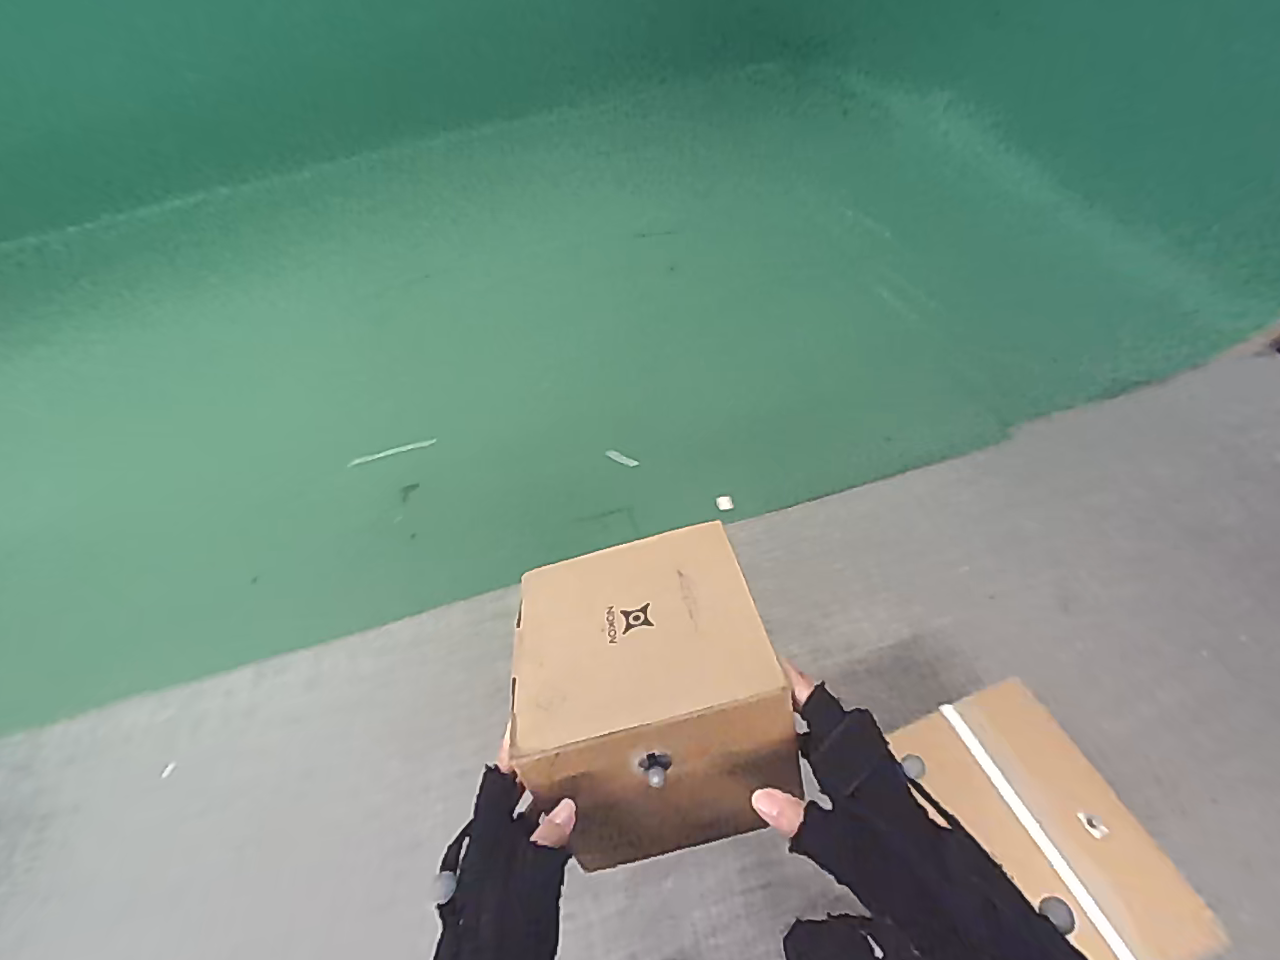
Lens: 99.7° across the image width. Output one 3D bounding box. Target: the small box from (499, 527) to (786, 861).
[{"bbox_3d":[0.004,0.171,0.440,0.179,0.176,0.168,-16,33,-1],"label":"small box"}]
